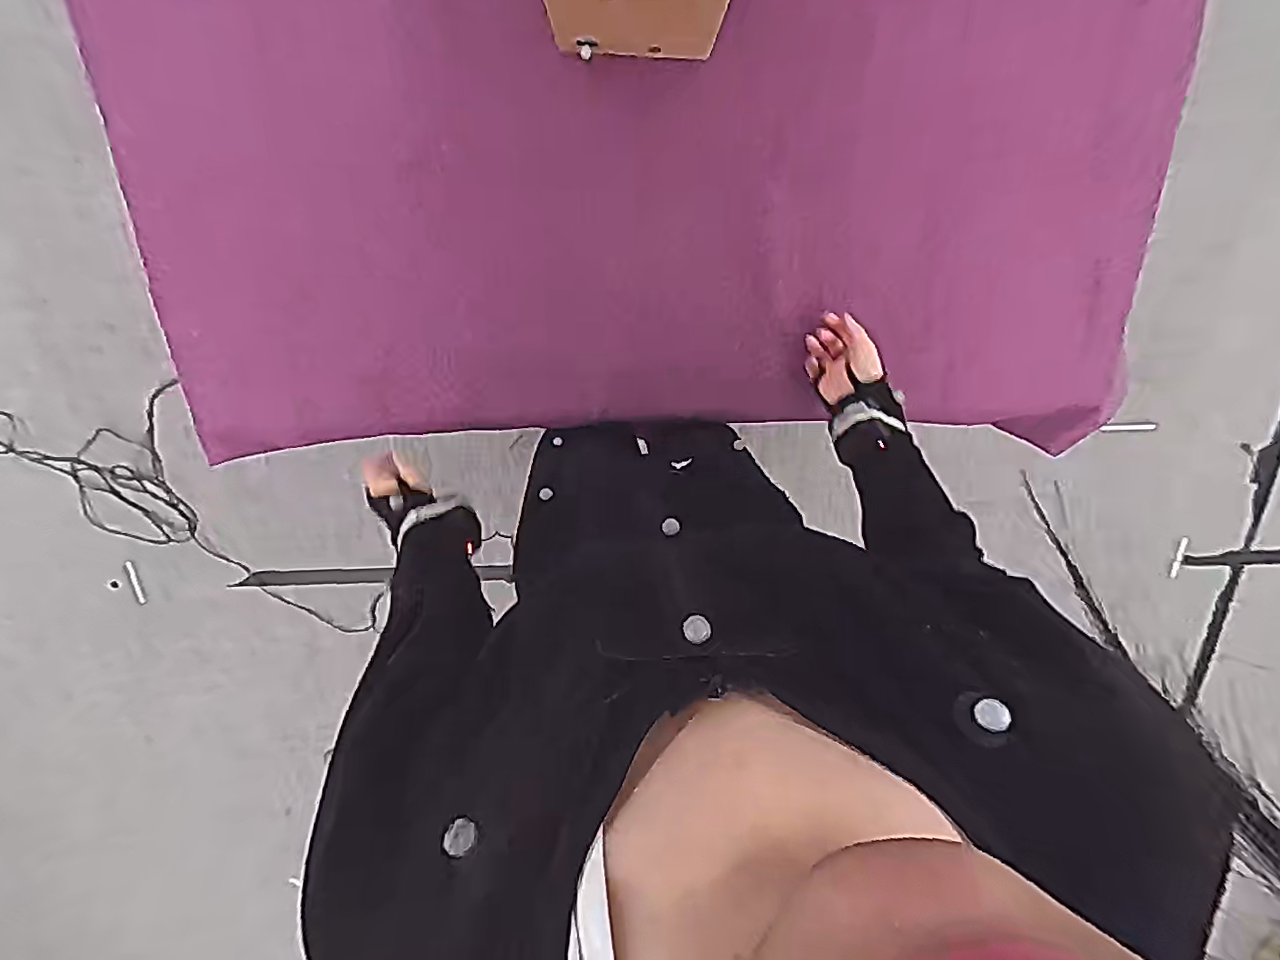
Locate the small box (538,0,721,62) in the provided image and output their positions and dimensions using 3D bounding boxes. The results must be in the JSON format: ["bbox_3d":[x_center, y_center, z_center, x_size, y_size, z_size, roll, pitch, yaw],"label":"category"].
[{"bbox_3d":[-0.005,-0.505,0.481,0.168,0.176,0.179,2,110,-3],"label":"small box"}]
